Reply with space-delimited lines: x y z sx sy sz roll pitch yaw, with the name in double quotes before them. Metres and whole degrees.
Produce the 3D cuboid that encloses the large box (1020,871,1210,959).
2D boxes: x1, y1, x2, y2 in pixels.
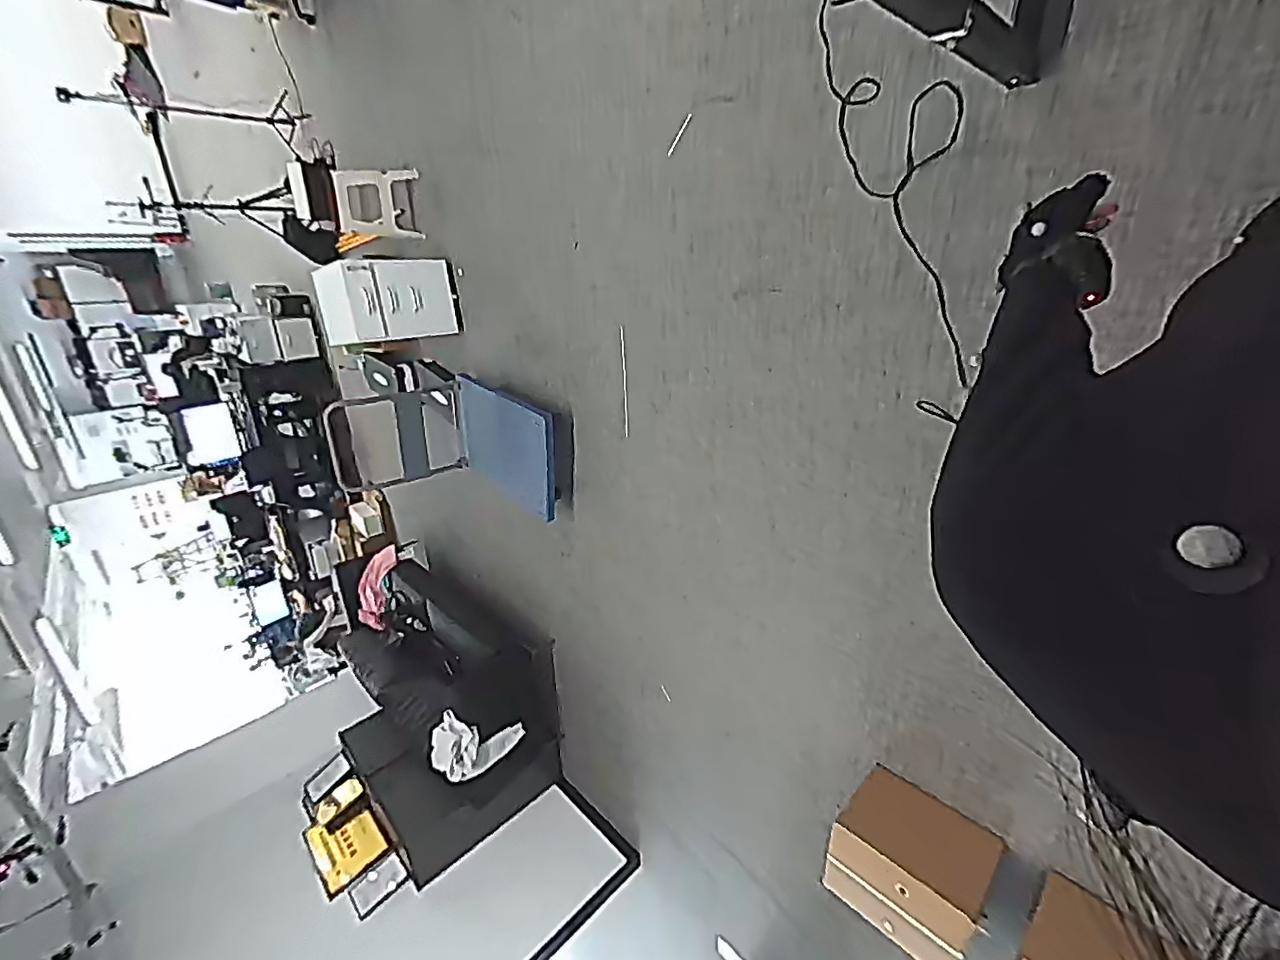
"large box" 1.224 1.339 1.378 0.408 0.320 0.320 19 120 40
